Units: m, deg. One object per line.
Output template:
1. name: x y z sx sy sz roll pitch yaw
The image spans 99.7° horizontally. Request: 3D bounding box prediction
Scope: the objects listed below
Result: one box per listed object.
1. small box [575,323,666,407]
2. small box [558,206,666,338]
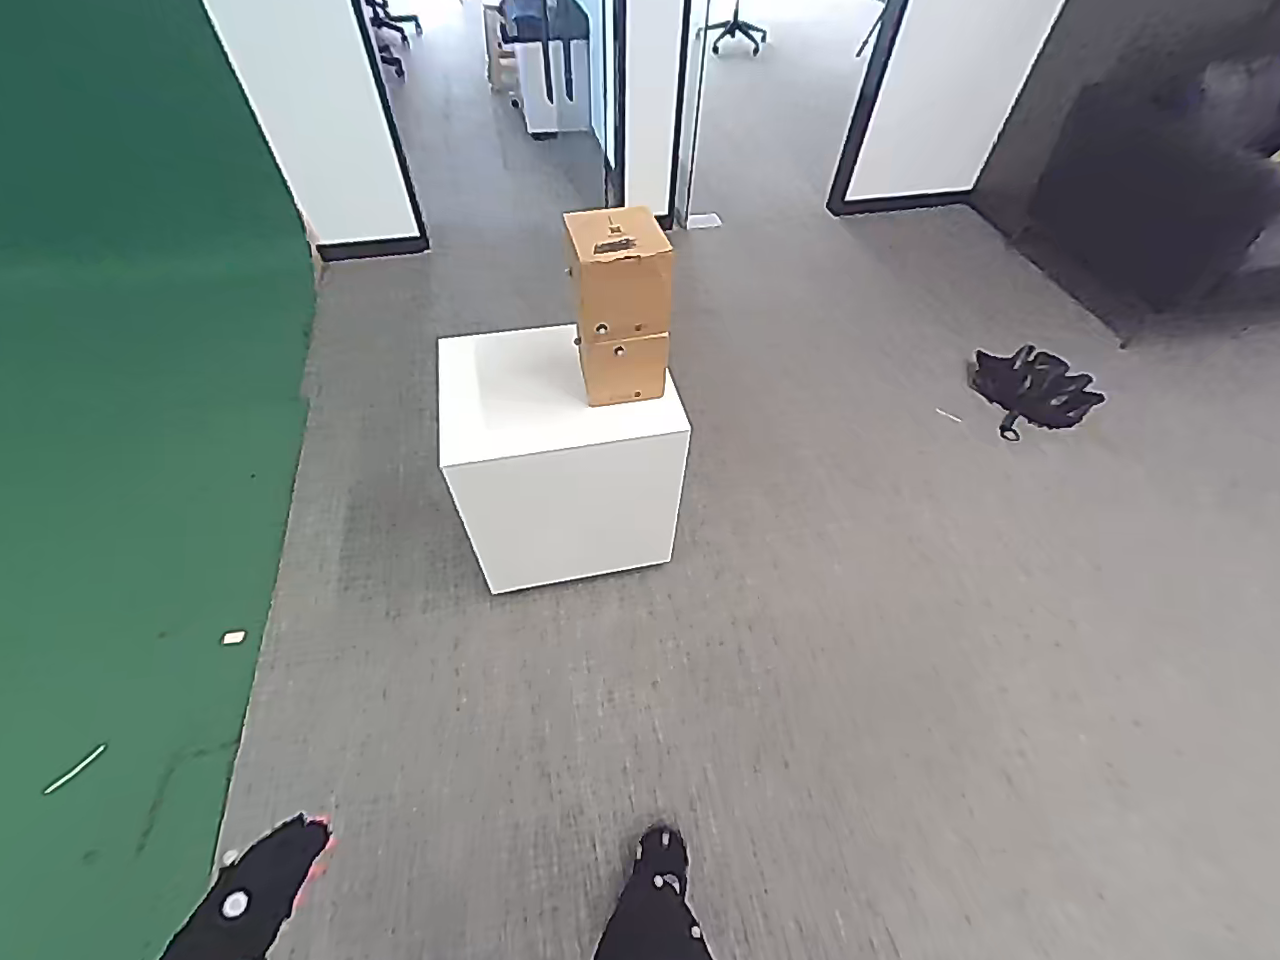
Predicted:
1. small box: -0.047 -0.282 1.152 0.168 0.176 0.179 -10 53 -8
2. small box: -0.052 -0.387 1.025 0.168 0.176 0.179 -12 53 -10
